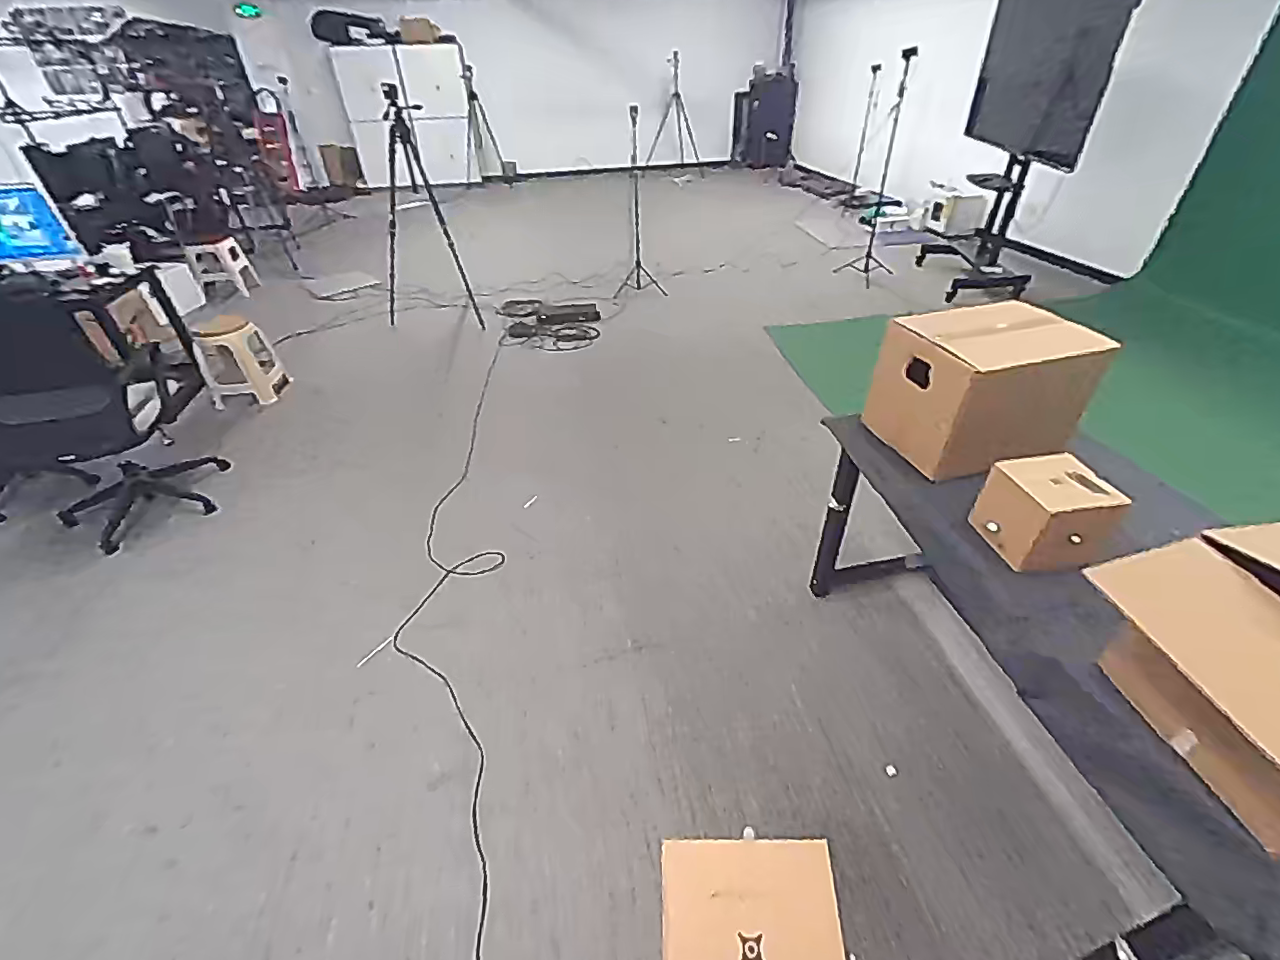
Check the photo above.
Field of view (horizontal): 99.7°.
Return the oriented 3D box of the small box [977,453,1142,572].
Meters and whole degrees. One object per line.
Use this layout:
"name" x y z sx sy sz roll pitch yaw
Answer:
"small box" 0.840 0.067 1.105 0.179 0.176 0.168 -7 39 -4
